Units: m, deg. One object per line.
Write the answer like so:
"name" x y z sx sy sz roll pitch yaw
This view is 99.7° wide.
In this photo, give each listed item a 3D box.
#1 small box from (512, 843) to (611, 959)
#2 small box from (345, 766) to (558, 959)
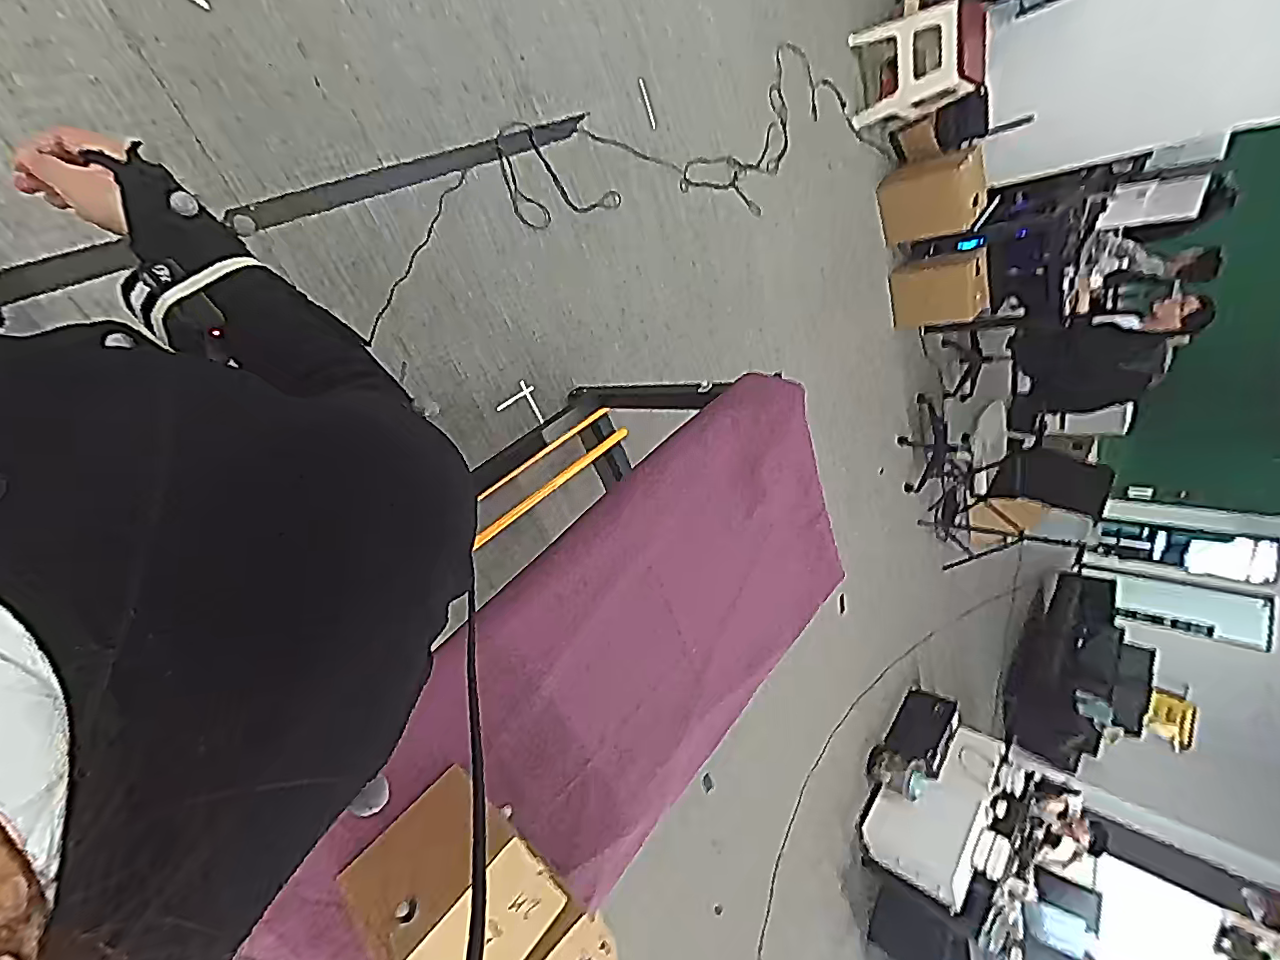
"small box" -0.175 0.680 0.779 0.179 0.176 0.168 -34 117 -34
"small box" -0.243 0.516 0.688 0.179 0.176 0.168 -40 124 -33
